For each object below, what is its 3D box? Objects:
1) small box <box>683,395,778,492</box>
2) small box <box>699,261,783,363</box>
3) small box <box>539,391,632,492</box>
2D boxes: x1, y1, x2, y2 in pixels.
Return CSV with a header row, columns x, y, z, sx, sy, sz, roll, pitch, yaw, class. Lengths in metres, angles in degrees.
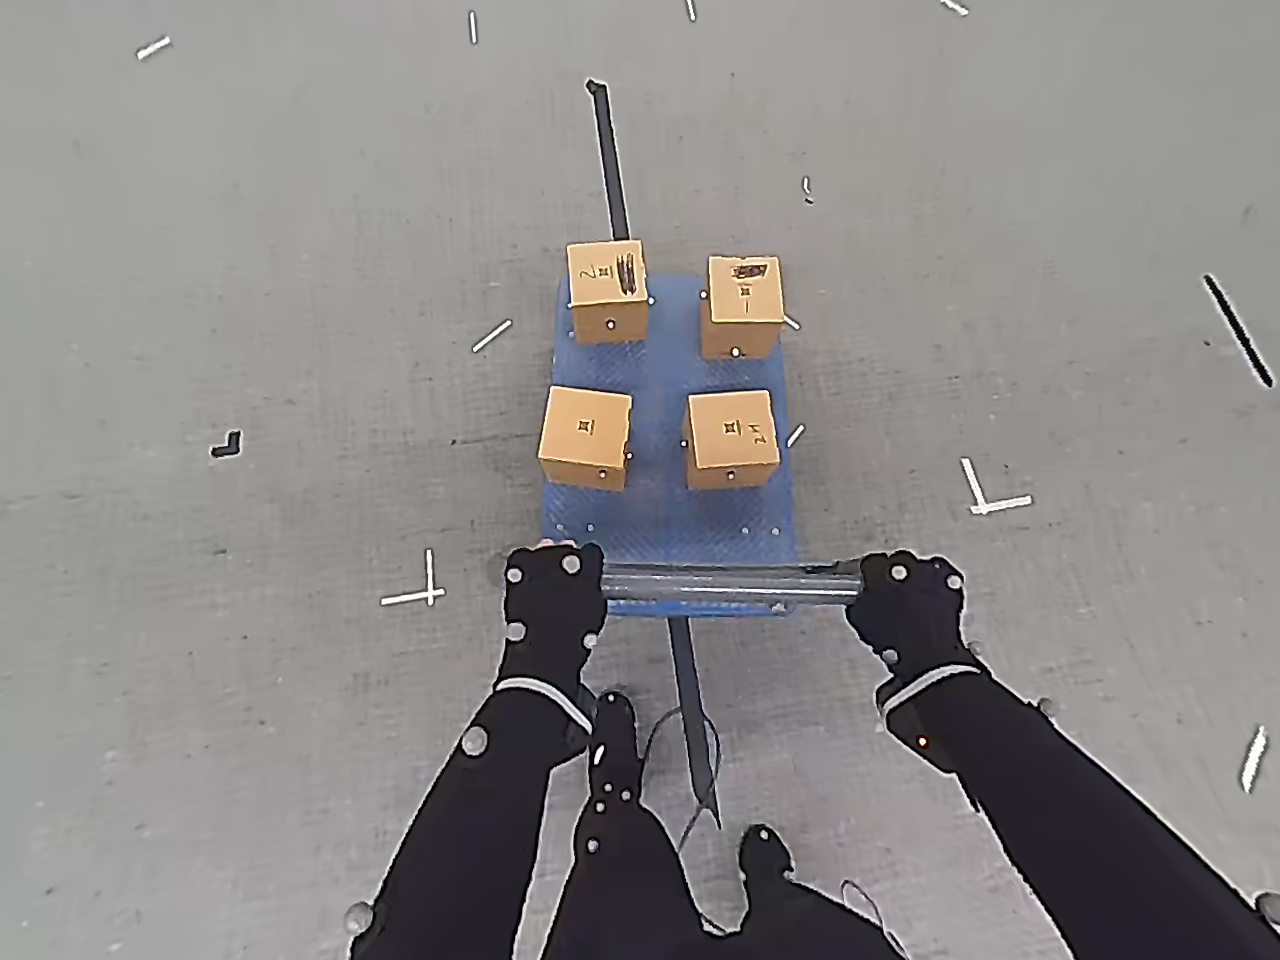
x,y,z,sx,sy,sz,roll,pitch,yaw,class
0.191,-0.076,1.206,0.179,0.176,0.168,-4,73,-3,small box
0.236,-0.403,1.309,0.168,0.176,0.179,0,74,-2,small box
-0.115,-0.079,1.200,0.179,0.176,0.168,7,72,-1,small box
